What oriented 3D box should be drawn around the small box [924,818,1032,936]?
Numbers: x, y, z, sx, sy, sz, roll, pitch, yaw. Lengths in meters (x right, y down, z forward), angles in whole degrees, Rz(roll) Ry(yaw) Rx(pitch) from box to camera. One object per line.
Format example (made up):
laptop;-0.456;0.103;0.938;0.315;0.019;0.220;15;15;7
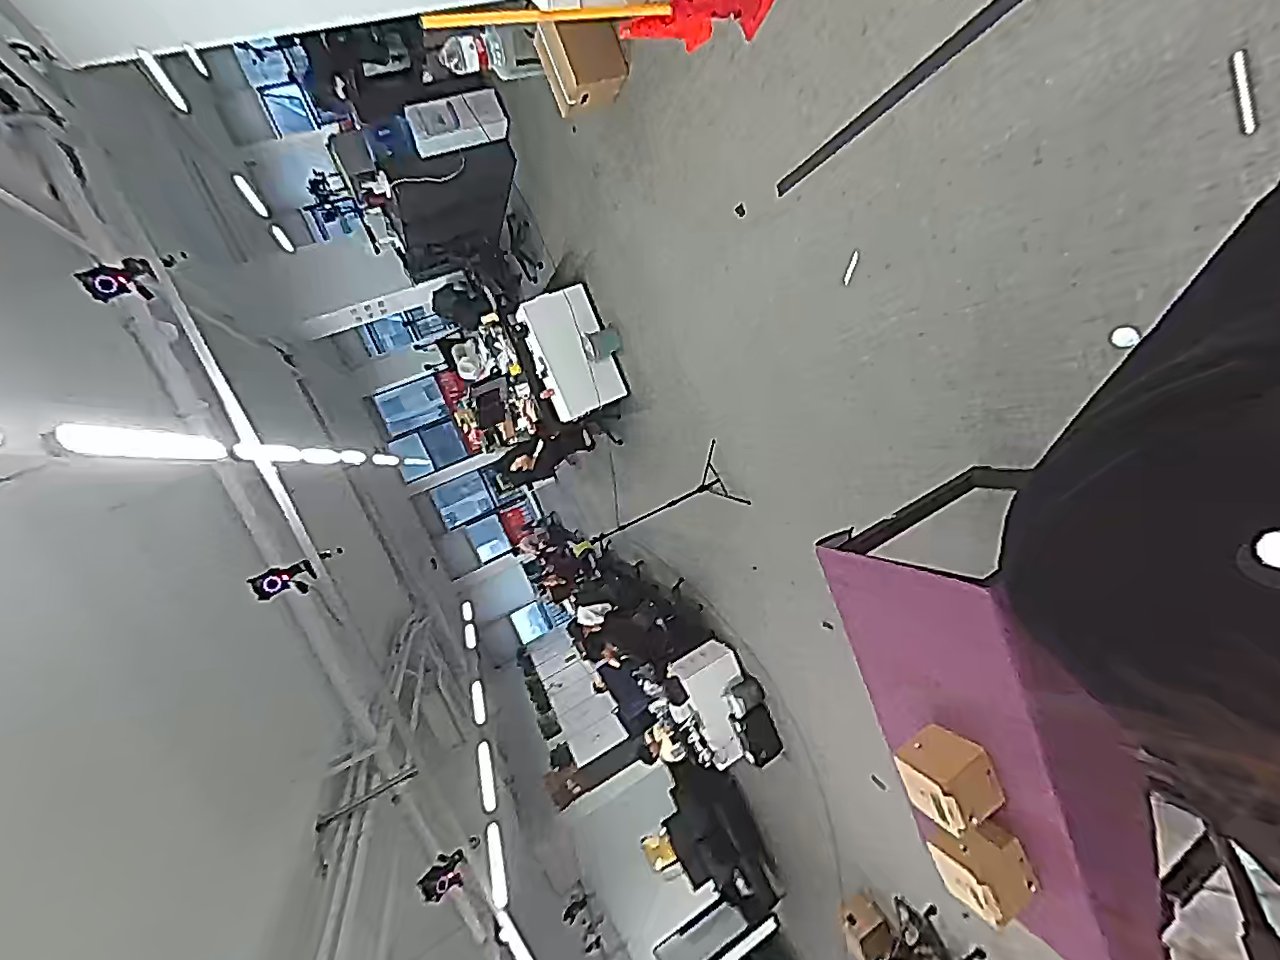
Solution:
small box;0.949;1.095;1.512;0.168;0.176;0.179;65;164;0
